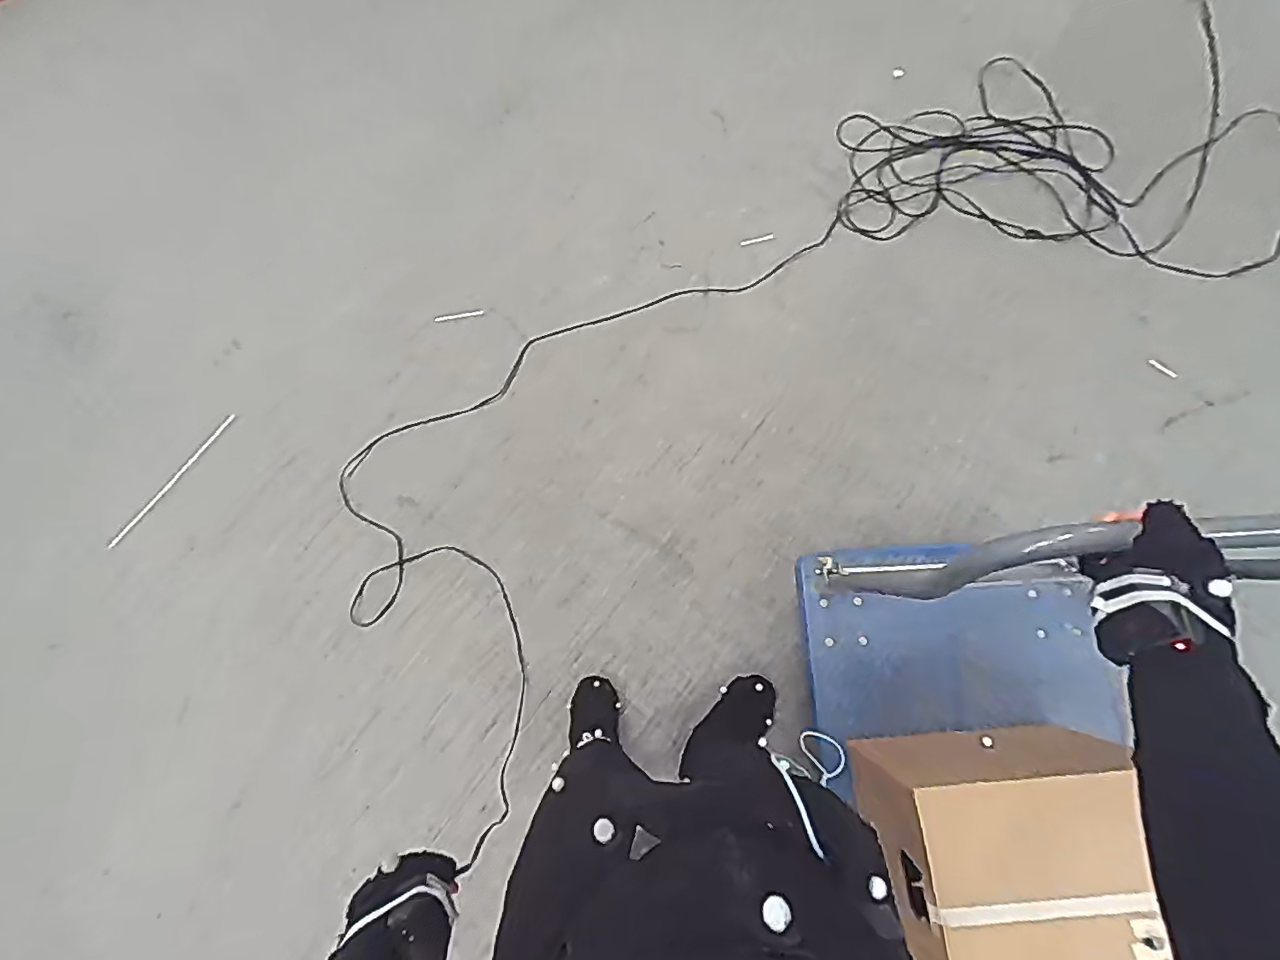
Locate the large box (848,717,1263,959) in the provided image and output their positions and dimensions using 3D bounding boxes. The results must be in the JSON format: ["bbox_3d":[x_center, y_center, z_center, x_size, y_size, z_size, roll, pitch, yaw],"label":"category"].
[{"bbox_3d":[0.614,0.596,0.882,0.408,0.320,0.320,-7,76,1],"label":"large box"}]
